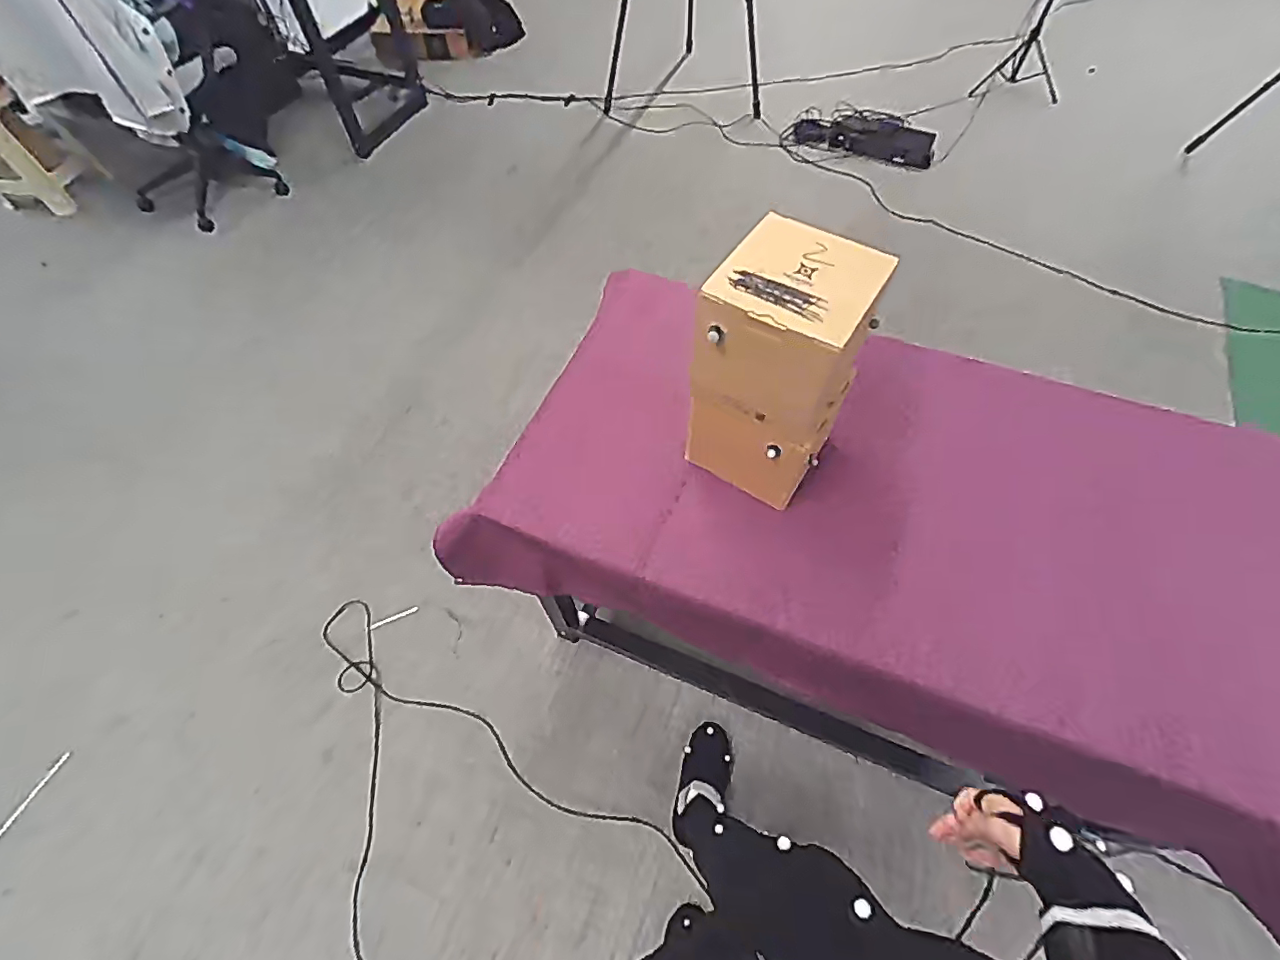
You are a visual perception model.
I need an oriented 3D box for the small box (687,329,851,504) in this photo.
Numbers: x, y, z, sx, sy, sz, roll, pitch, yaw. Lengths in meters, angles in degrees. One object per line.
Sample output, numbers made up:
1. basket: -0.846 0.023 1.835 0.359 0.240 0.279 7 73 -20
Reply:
1. small box: 0.184 -0.090 0.822 0.179 0.176 0.168 29 63 17
